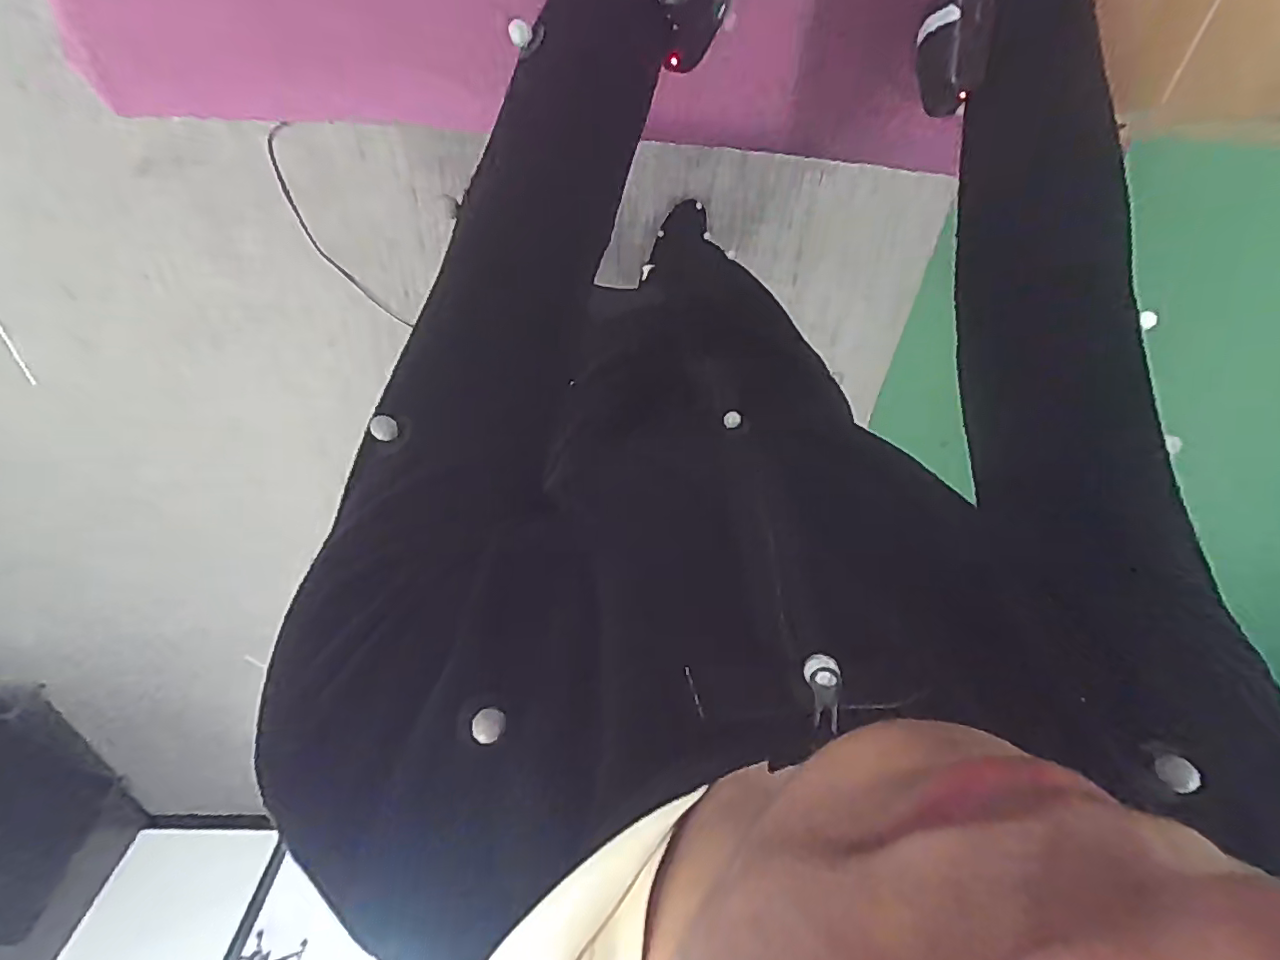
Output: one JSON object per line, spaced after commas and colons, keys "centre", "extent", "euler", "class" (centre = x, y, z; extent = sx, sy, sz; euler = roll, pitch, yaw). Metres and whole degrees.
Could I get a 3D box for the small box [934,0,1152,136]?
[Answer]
{"centre": [0.437, -0.453, 0.531], "extent": [0.179, 0.176, 0.168], "euler": [6, 124, -5], "class": "small box"}
